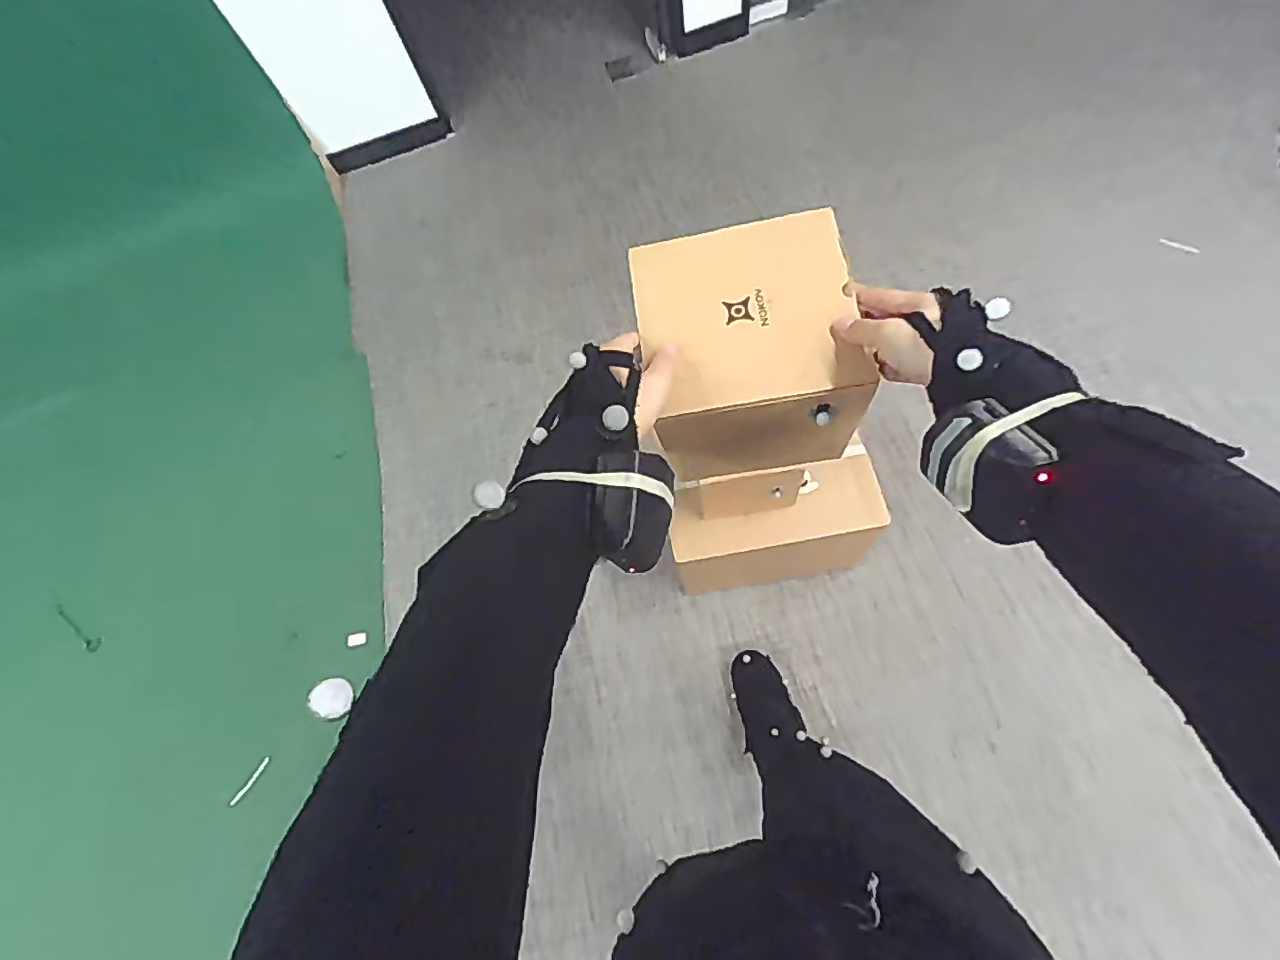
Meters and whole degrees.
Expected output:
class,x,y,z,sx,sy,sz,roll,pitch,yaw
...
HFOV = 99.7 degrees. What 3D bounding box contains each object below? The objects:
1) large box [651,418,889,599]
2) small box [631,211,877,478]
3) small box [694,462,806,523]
class,x,y,z,sx,sy,sz,roll,pitch,yaw
large box,0.258,0.049,1.192,0.408,0.320,0.320,-11,66,3
small box,0.097,-0.111,0.510,0.179,0.176,0.168,-9,71,6
small box,0.183,-0.036,0.973,0.179,0.176,0.168,-11,63,5
